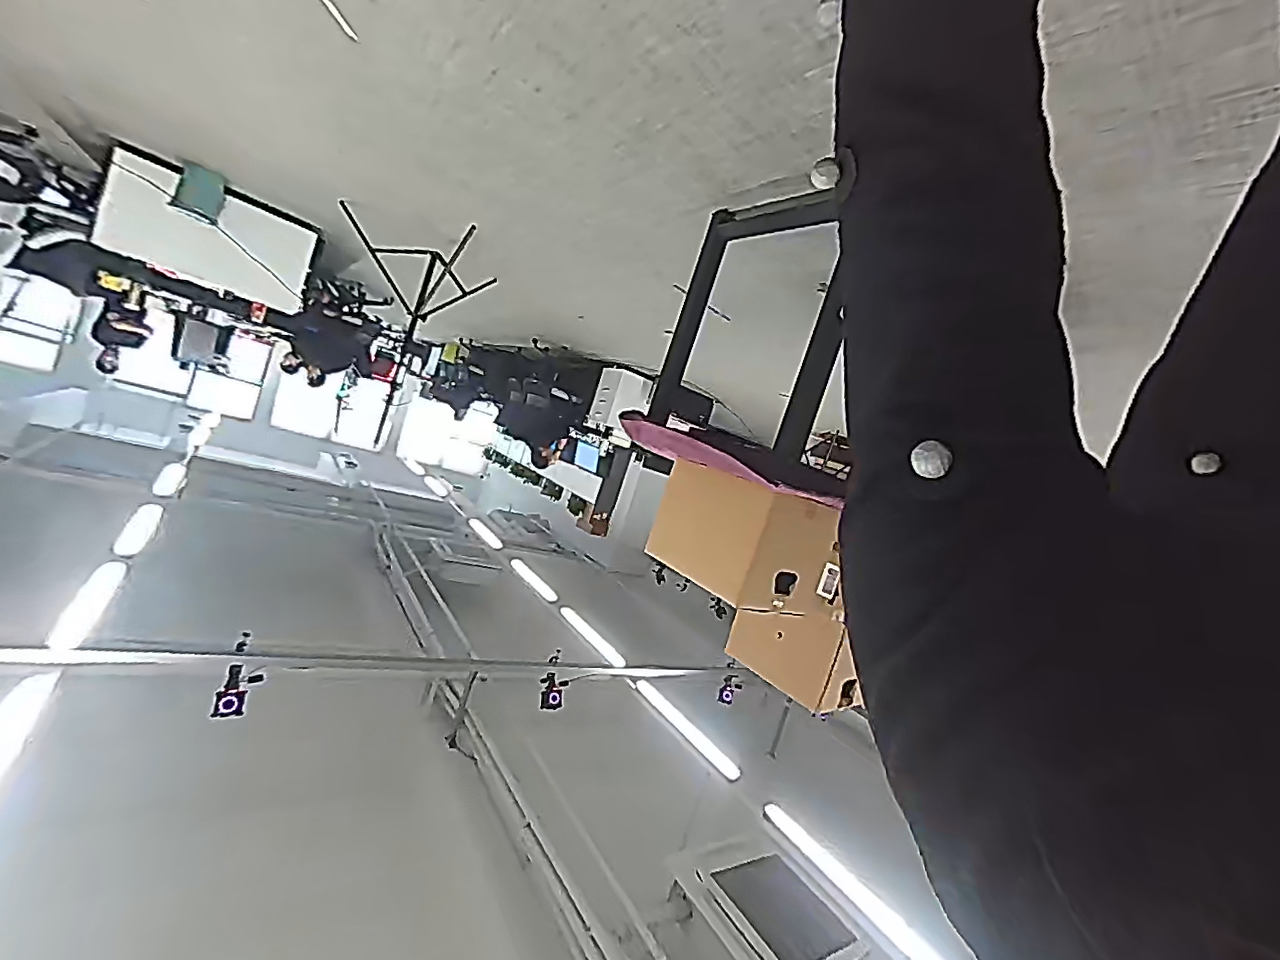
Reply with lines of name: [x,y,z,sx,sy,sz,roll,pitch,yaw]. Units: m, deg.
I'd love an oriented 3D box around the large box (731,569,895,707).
large box: [0.594,0.532,1.890,0.320,0.320,0.408,11,-173,-38]
